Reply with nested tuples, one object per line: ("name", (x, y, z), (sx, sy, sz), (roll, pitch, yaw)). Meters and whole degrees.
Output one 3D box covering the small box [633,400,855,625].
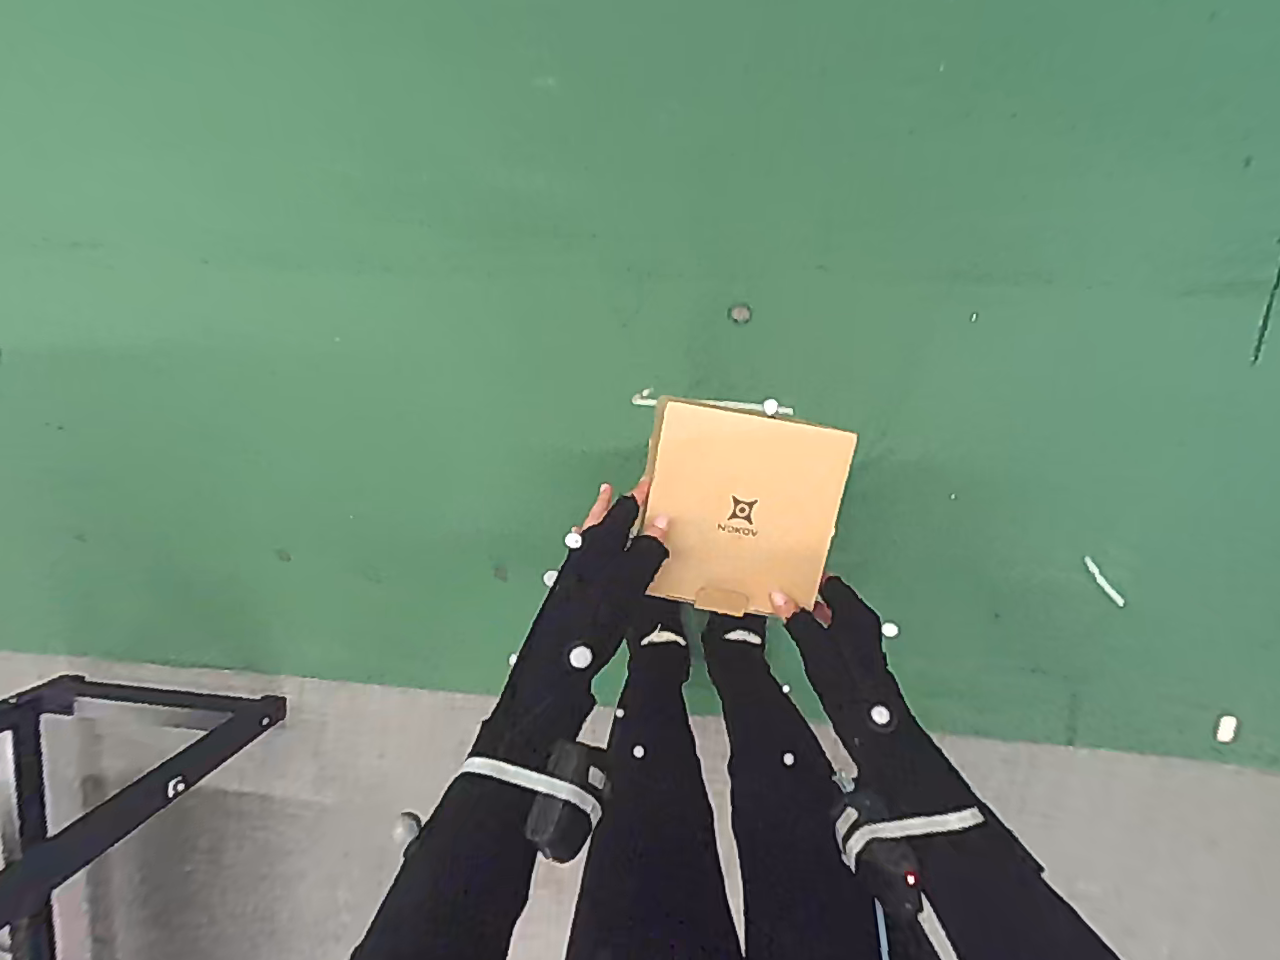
("small box", (0.087, 0.019, 0.545), (0.168, 0.176, 0.179), (10, 102, -2))
